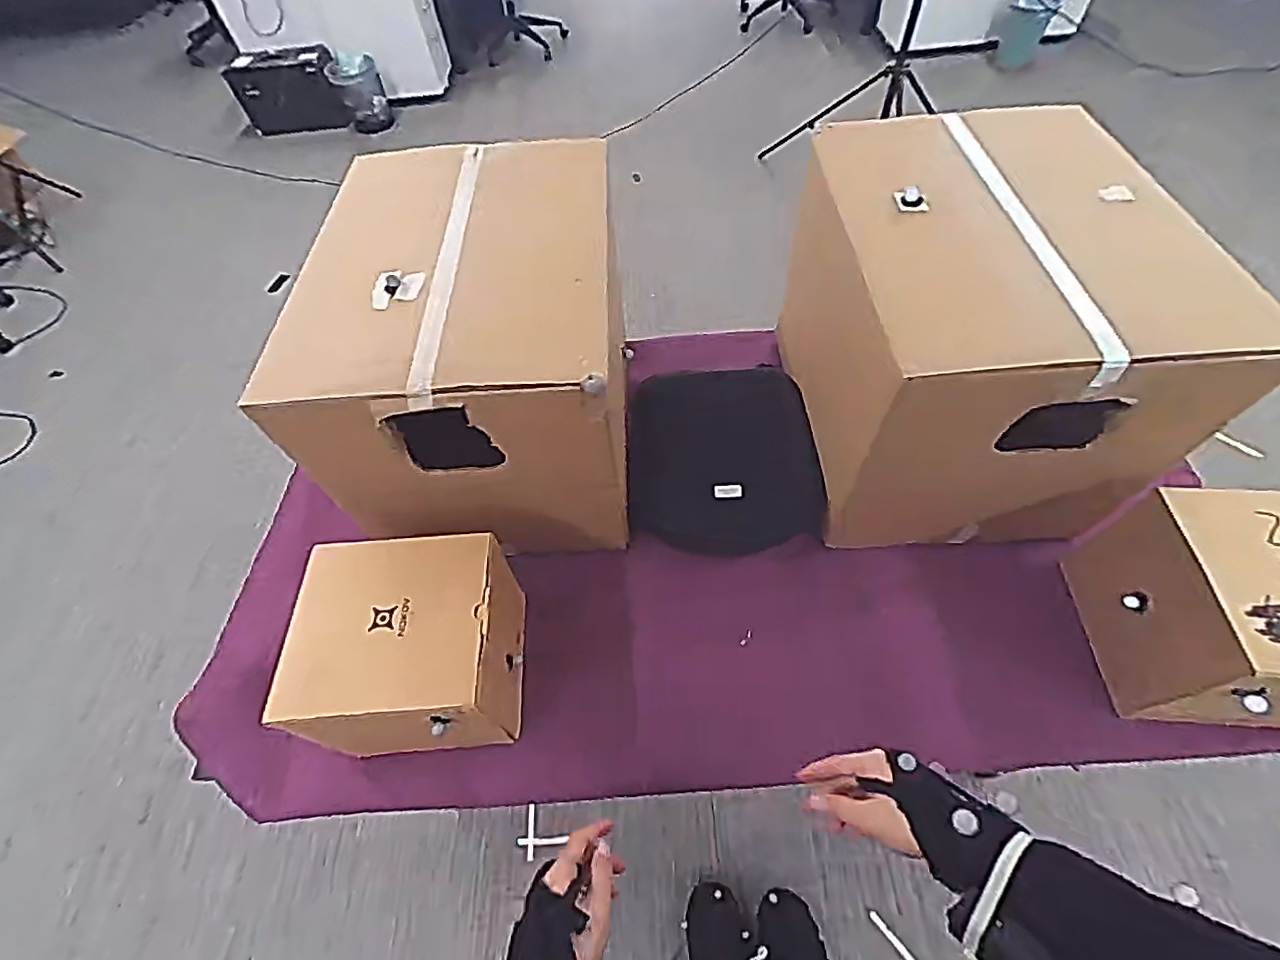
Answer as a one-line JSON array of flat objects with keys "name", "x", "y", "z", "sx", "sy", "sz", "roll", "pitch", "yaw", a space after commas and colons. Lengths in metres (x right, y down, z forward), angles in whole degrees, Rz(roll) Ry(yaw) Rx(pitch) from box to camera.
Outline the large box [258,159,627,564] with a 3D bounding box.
[{"name": "large box", "x": -0.185, "y": -0.142, "z": 0.692, "sx": 0.320, "sy": 0.320, "sz": 0.408, "roll": -4, "pitch": 59, "yaw": 2}]
